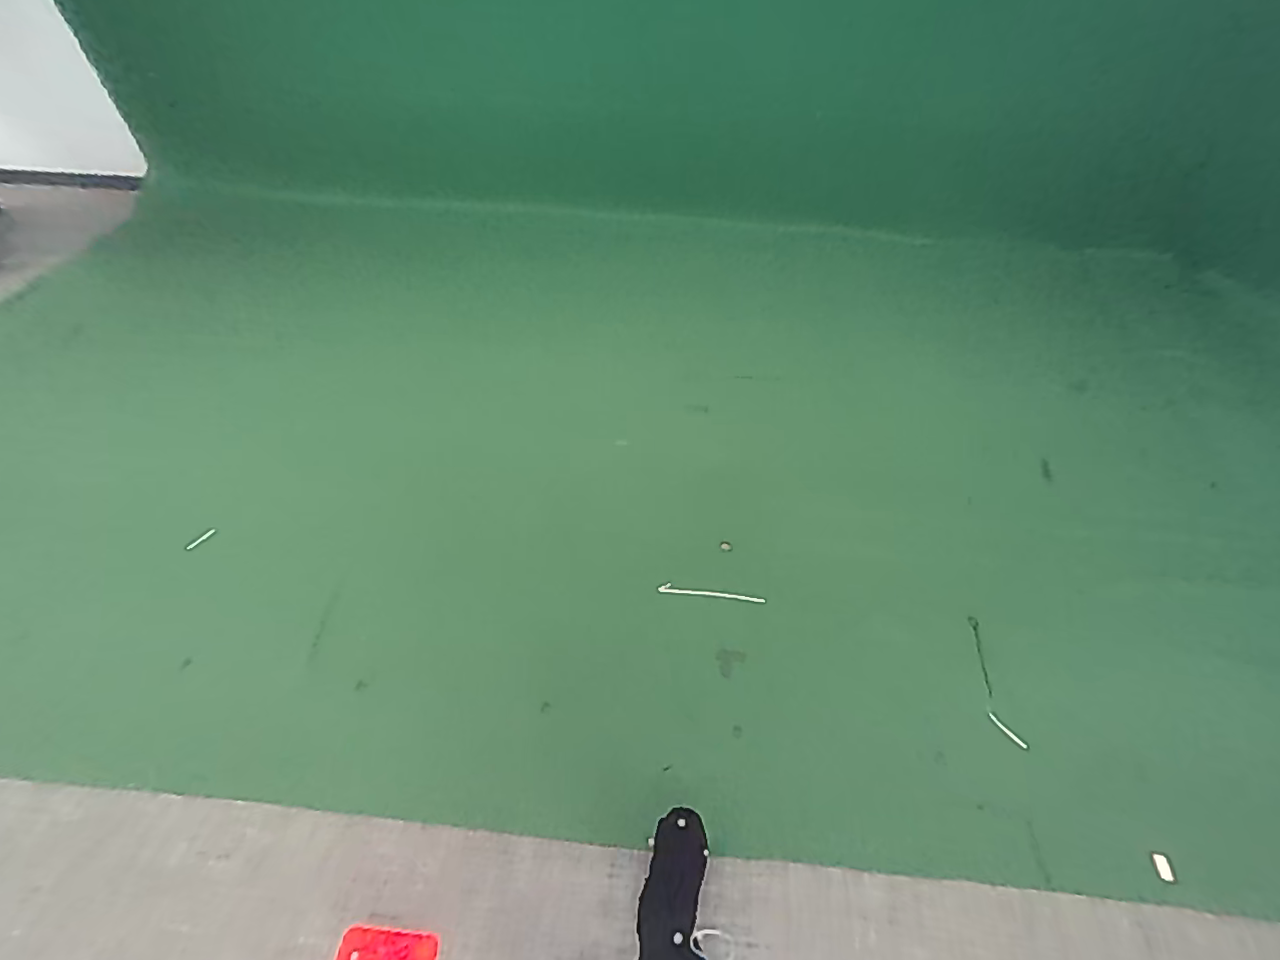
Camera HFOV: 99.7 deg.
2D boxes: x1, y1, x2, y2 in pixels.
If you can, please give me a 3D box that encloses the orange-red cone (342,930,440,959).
[{"bbox_3d":[-0.505,0.898,0.914,0.198,0.360,0.199,4,50,4],"label":"orange-red cone"}]
